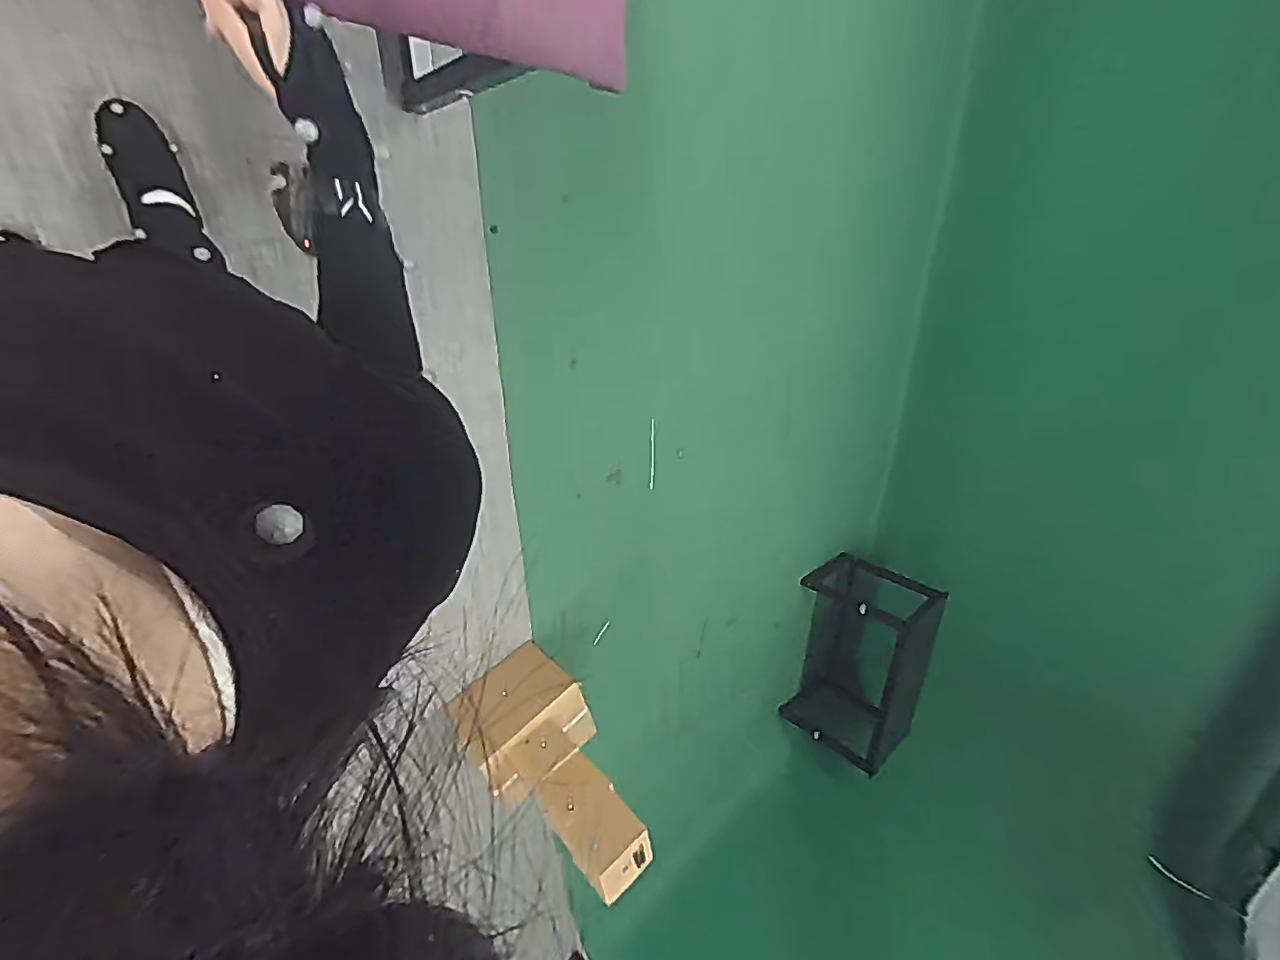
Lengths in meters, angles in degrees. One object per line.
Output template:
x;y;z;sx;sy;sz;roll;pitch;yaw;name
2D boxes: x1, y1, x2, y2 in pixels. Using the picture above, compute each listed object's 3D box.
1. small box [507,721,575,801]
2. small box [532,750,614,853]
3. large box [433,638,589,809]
-0.316;0.928;1.776;0.168;0.176;0.179;-30;126;-34;small box
-0.206;0.983;1.670;0.179;0.176;0.168;-28;126;-34;small box
-0.461;0.869;1.969;0.408;0.320;0.320;-36;131;-32;large box
